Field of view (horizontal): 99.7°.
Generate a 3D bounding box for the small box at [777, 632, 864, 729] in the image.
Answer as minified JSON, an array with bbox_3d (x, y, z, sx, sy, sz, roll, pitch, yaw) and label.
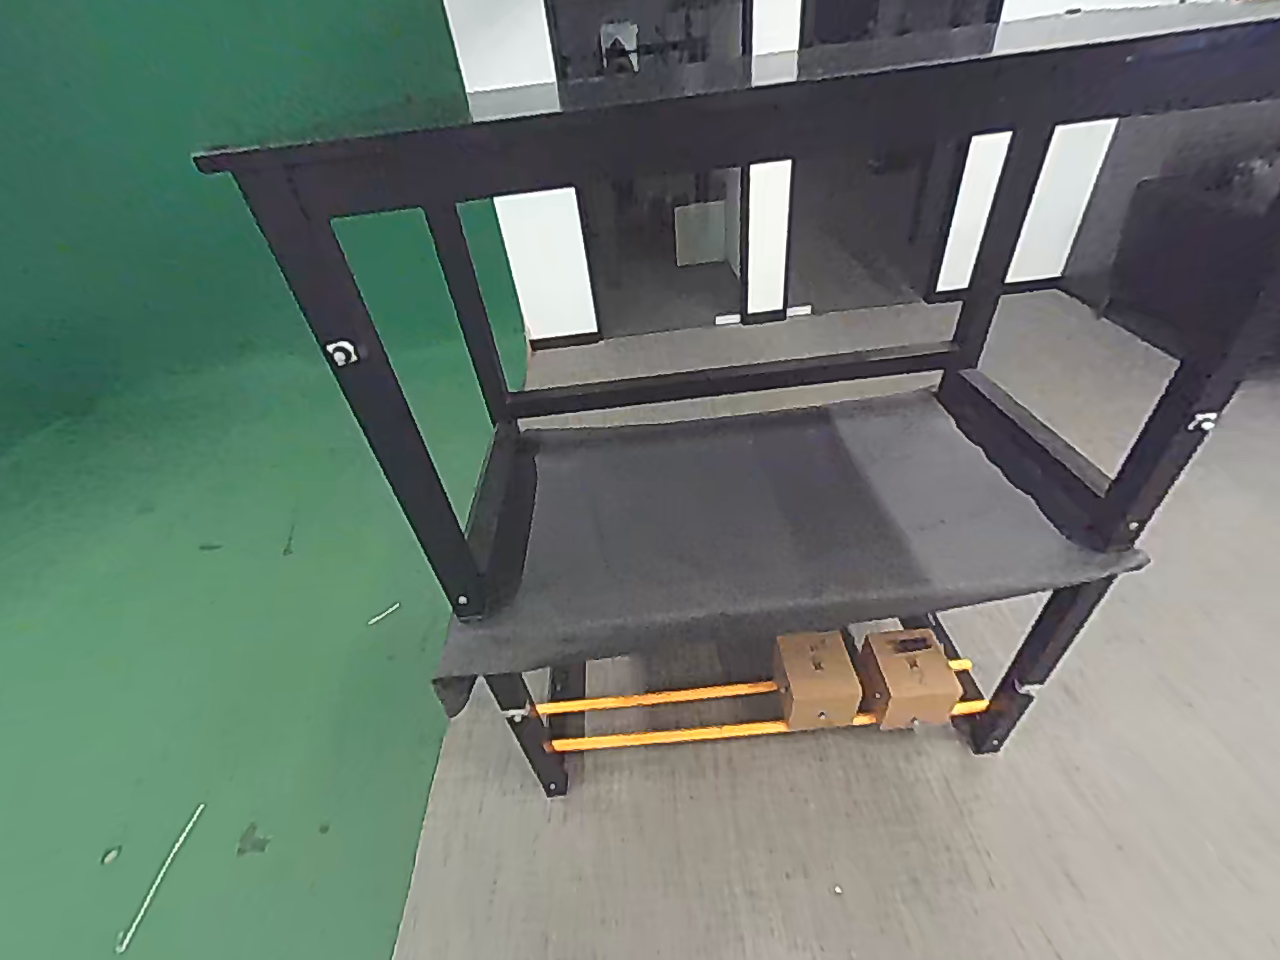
[{"bbox_3d":[0.453,0.518,1.384,0.168,0.176,0.179,-7,39,2],"label":"small box"}]
